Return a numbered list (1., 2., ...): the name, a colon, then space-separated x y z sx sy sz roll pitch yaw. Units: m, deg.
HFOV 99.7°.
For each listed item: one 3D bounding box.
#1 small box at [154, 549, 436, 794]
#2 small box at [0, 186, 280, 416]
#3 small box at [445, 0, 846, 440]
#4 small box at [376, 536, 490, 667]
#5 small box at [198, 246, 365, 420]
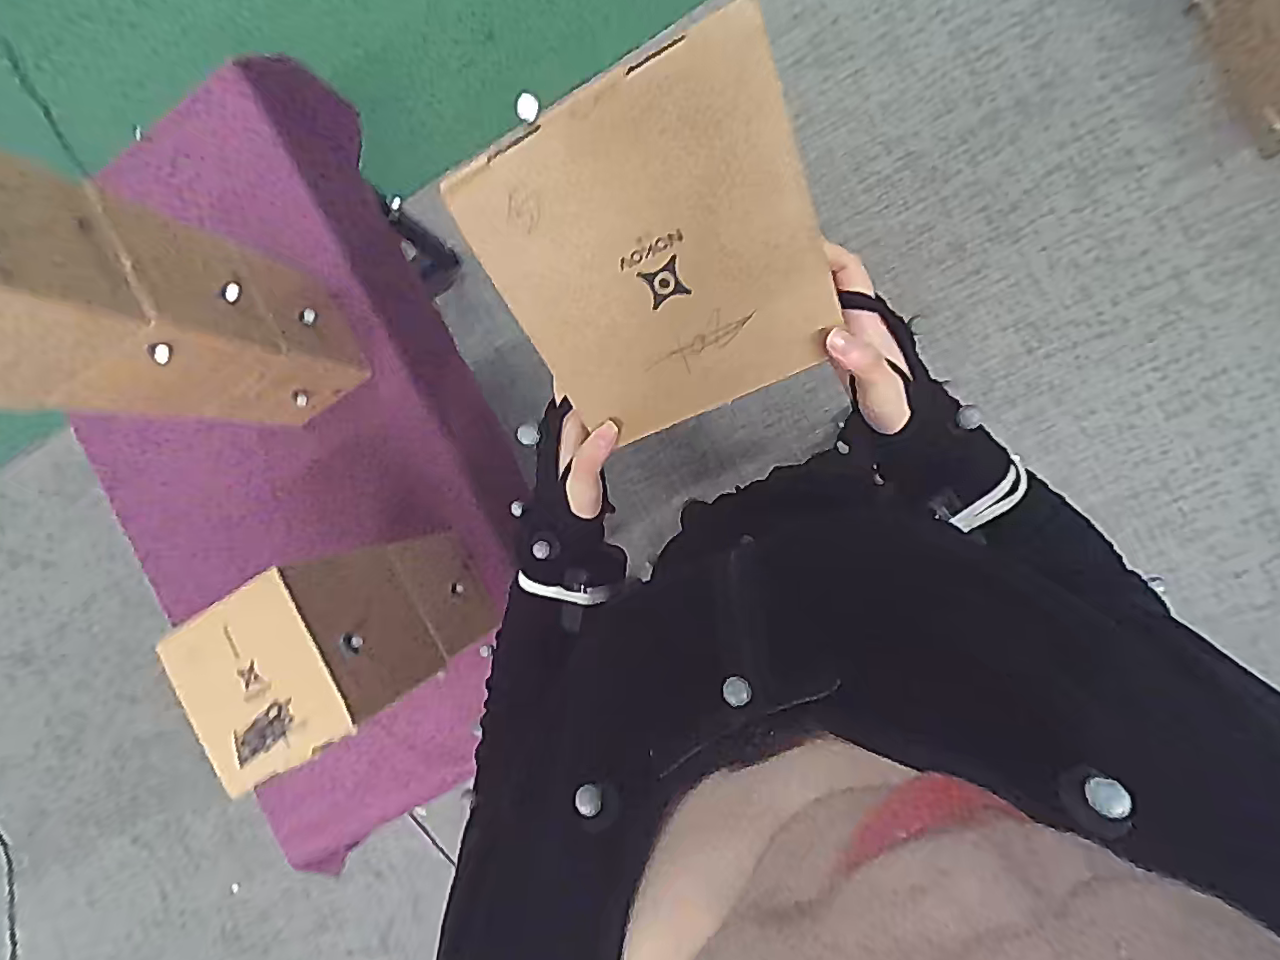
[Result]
1. small box: -0.365 0.195 0.603 0.168 0.176 0.179 -31 85 9
2. small box: -0.583 -0.191 0.638 0.179 0.176 0.168 -30 85 9
3. small box: 0.011 -0.162 0.353 0.168 0.176 0.179 -21 125 16
4. small box: -0.337 0.192 0.766 0.179 0.176 0.168 -30 85 10
5. small box: -0.551 -0.200 0.798 0.168 0.176 0.179 -31 86 9
